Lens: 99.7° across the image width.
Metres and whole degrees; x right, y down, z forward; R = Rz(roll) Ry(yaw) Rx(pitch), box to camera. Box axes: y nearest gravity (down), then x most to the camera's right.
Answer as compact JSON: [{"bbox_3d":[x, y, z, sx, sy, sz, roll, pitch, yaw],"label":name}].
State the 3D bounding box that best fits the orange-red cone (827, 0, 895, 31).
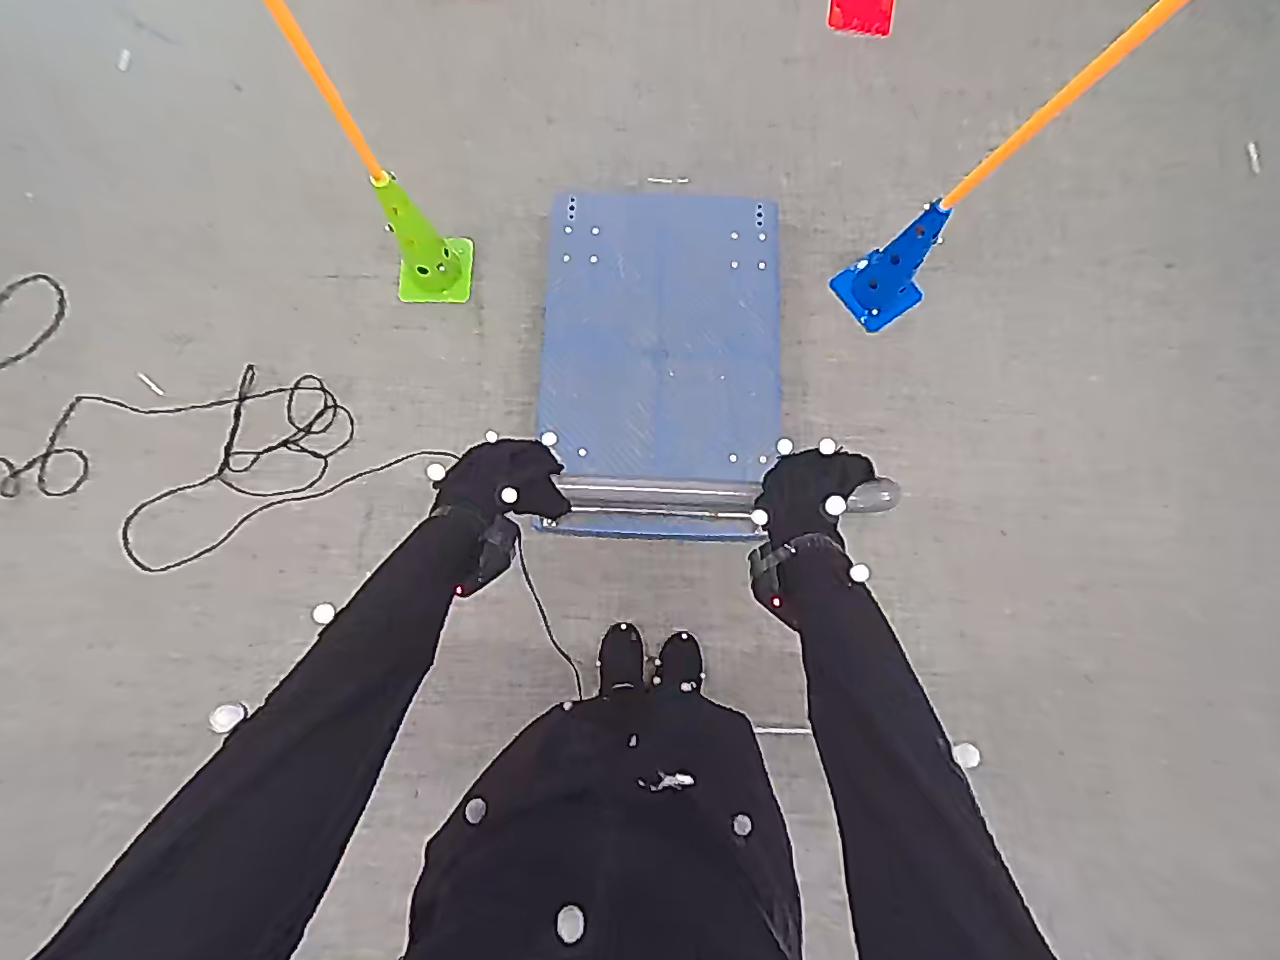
[{"bbox_3d":[0.696,-1.535,1.534,0.198,0.360,0.199,12,80,3],"label":"orange-red cone"}]
